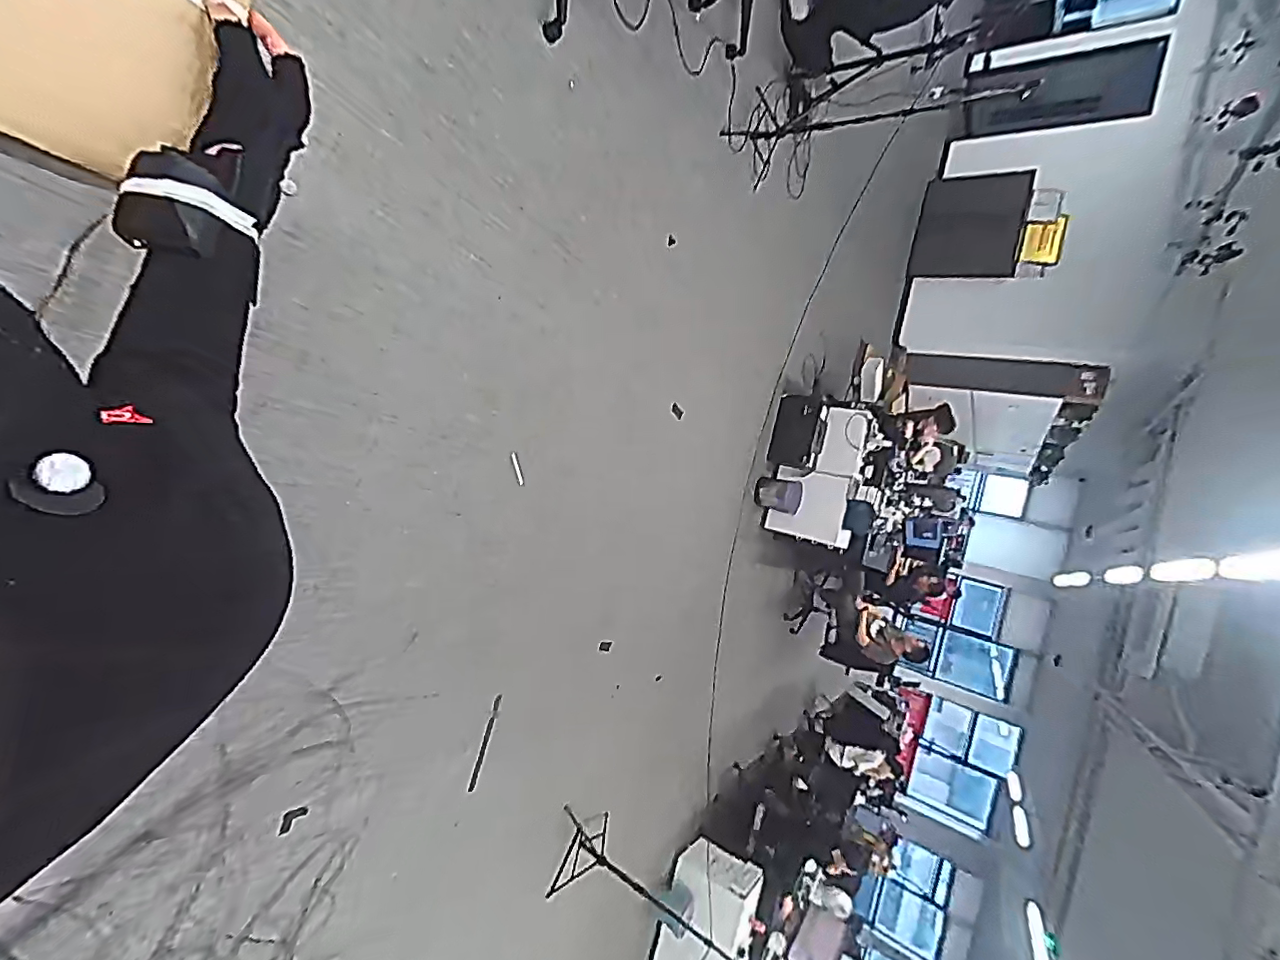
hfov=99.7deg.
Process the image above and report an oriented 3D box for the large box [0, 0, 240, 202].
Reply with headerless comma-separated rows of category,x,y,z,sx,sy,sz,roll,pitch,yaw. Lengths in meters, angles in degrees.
large box,-0.552,-0.444,0.343,0.408,0.320,0.320,12,101,-61
